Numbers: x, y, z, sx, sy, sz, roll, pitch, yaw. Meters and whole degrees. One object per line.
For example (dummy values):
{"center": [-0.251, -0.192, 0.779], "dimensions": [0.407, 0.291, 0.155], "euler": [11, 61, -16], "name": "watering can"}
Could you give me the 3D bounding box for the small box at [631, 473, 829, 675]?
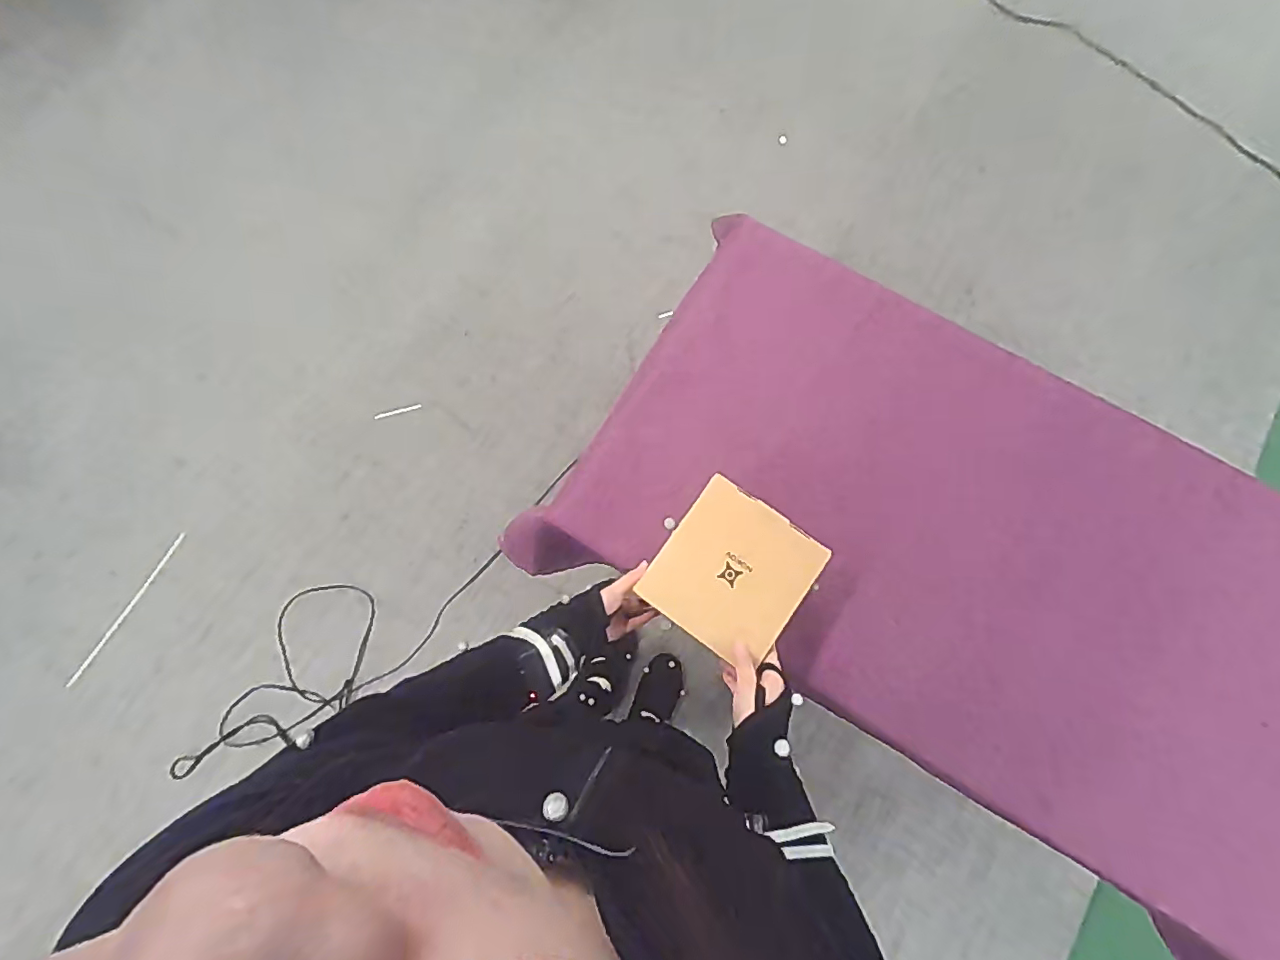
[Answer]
{"center": [0.107, 0.123, 0.700], "dimensions": [0.168, 0.176, 0.179], "euler": [36, 79, 9], "name": "small box"}
